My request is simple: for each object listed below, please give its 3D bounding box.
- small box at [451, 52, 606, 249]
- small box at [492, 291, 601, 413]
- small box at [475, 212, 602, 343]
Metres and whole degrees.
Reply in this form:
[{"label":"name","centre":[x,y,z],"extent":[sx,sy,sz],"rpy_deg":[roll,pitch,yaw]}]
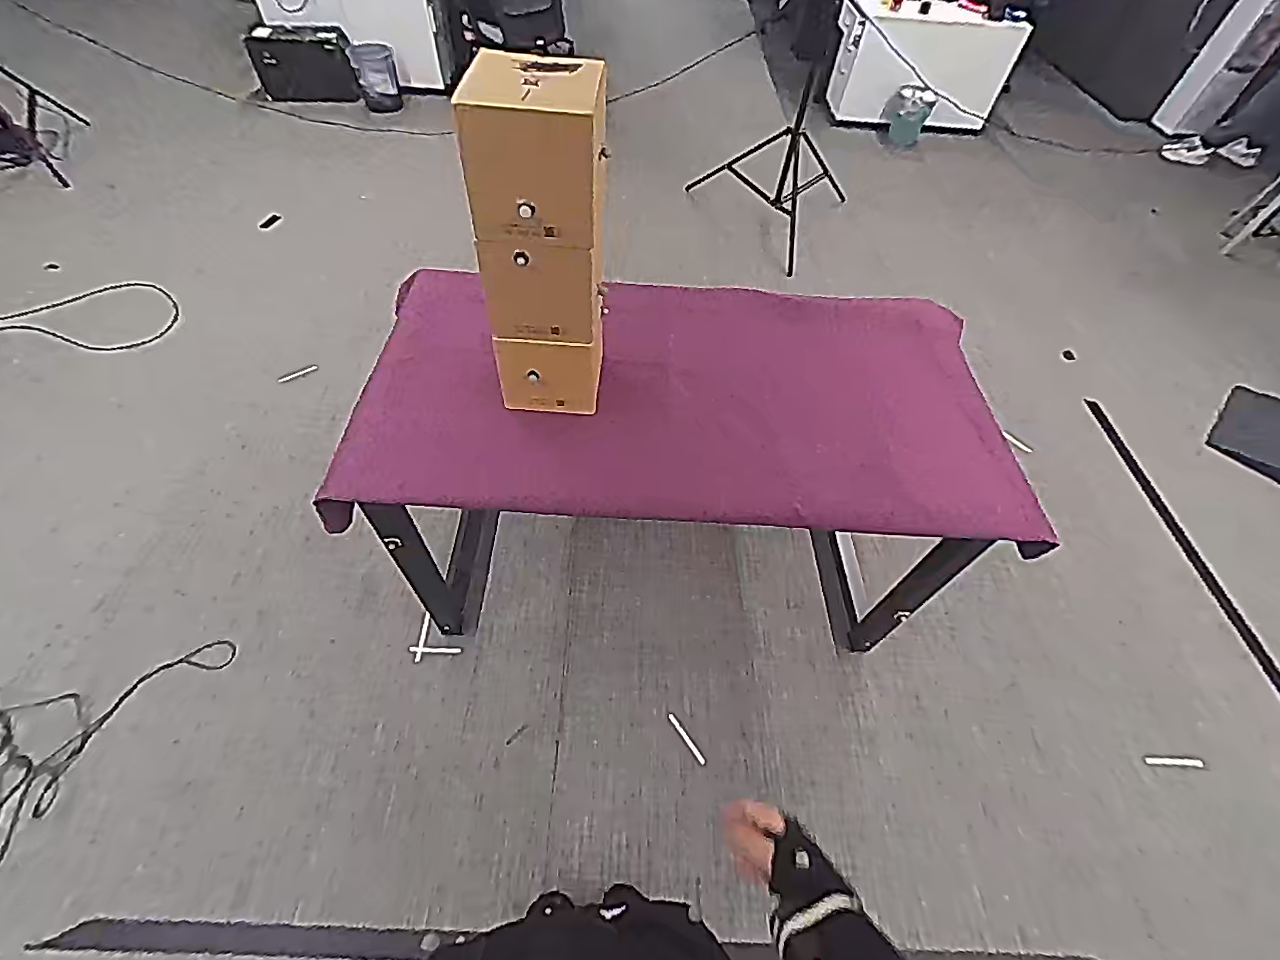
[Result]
[{"label":"small box","centre":[-0.136,-0.440,0.728],"extent":[0.168,0.176,0.179],"rpy_deg":[4,54,-1]},{"label":"small box","centre":[-0.160,-0.242,0.989],"extent":[0.168,0.176,0.179],"rpy_deg":[4,53,-1]},{"label":"small box","centre":[-0.150,-0.344,0.861],"extent":[0.168,0.176,0.179],"rpy_deg":[3,53,-2]}]
